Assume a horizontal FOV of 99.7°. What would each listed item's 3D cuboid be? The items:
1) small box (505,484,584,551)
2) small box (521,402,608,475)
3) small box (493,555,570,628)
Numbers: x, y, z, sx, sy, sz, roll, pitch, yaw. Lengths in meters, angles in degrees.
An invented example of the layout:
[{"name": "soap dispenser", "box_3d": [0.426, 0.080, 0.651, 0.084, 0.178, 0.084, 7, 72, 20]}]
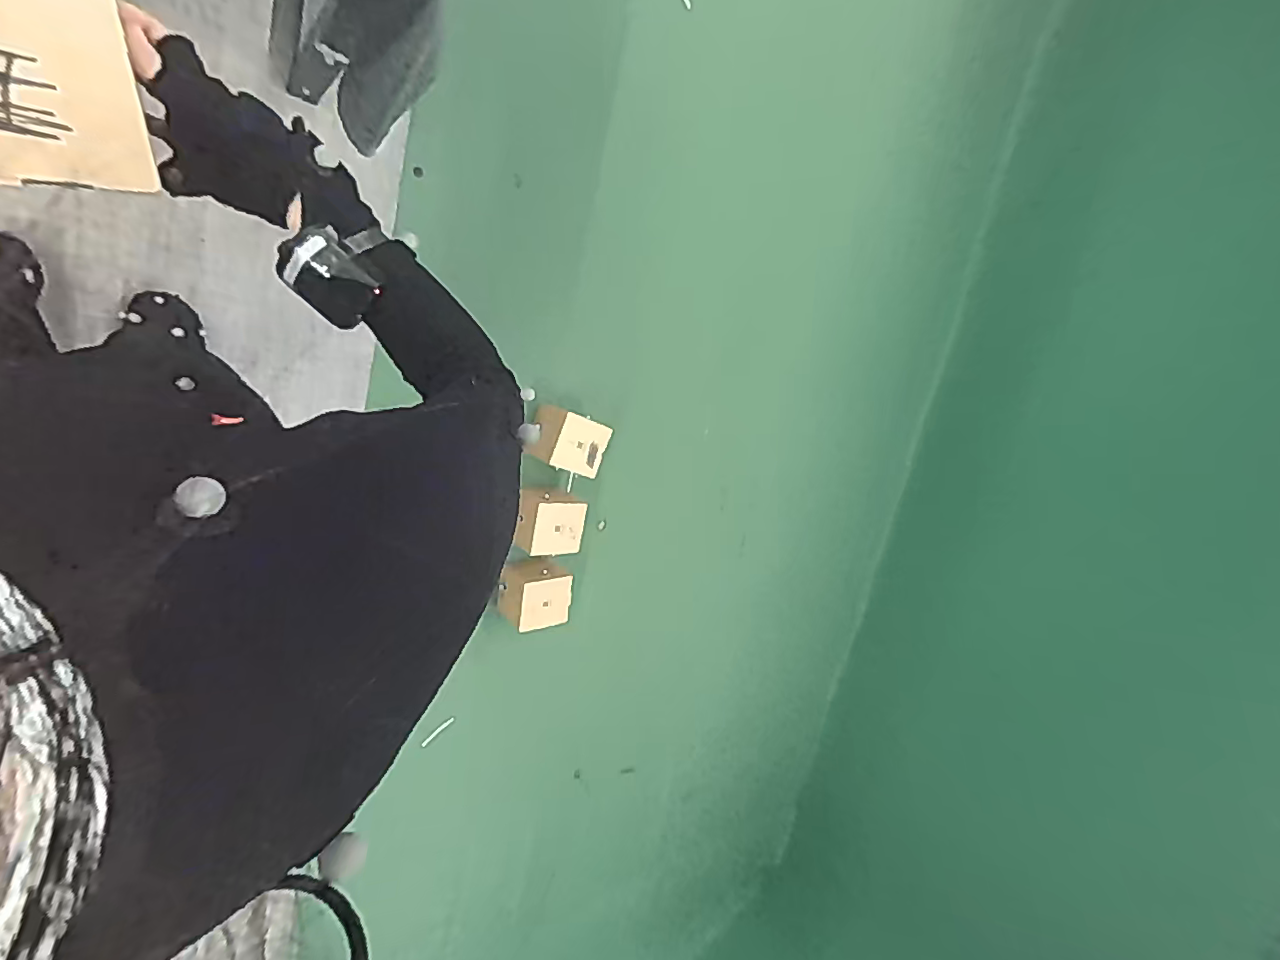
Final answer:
[{"name": "small box", "box_3d": [-0.304, 0.115, 1.697, 0.179, 0.176, 0.168, 2, 105, -42]}, {"name": "small box", "box_3d": [-0.234, -0.132, 1.667, 0.179, 0.176, 0.168, 19, 92, -42]}, {"name": "small box", "box_3d": [-0.351, 0.352, 1.749, 0.179, 0.176, 0.168, -2, 107, -41]}]
